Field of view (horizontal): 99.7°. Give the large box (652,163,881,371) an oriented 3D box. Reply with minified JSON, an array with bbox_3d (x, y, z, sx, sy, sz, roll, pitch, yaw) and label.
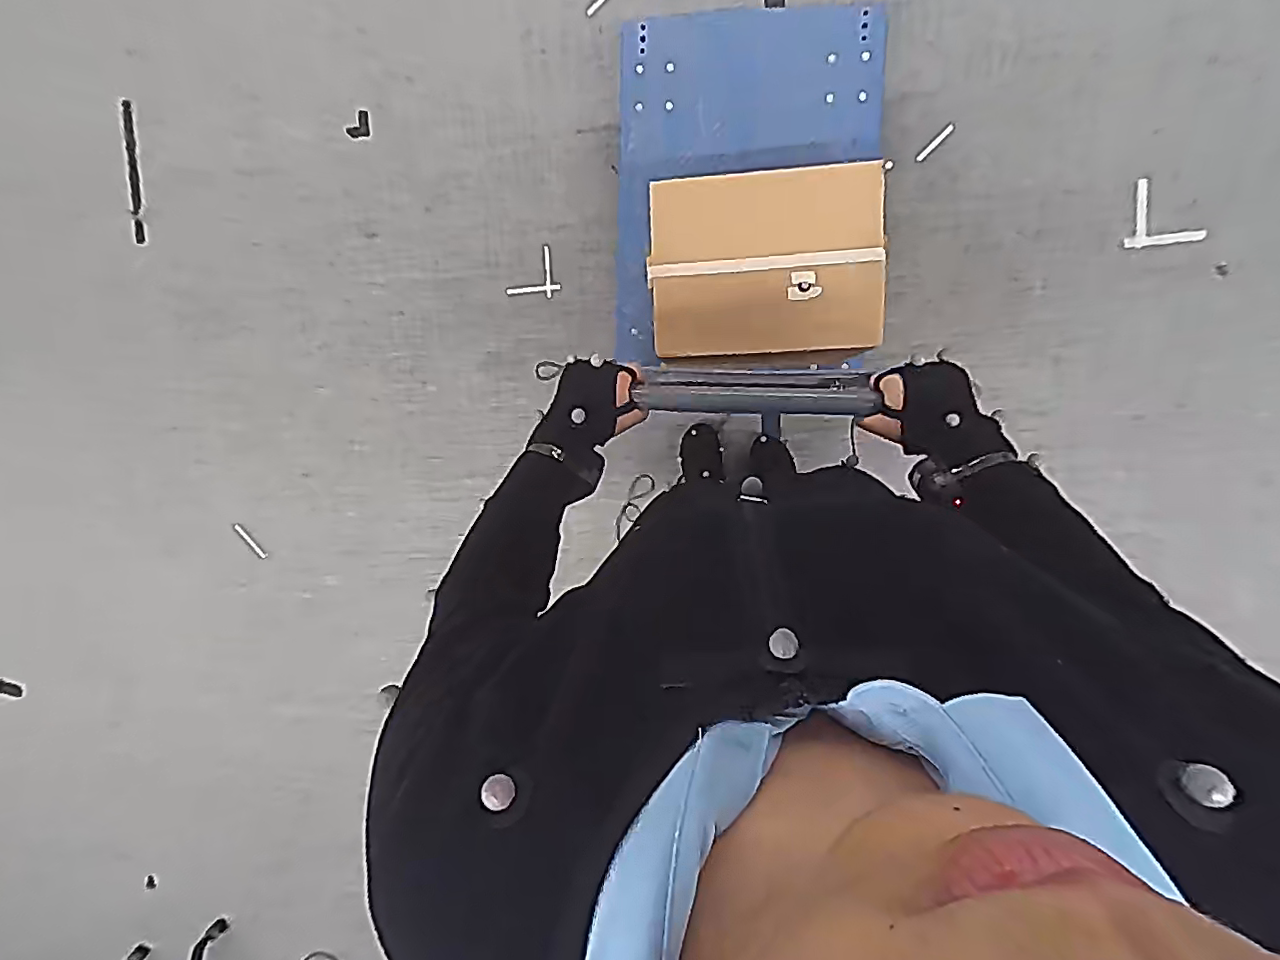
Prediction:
[{"bbox_3d":[0.241,-0.406,1.121,0.408,0.320,0.320,-2,97,6],"label":"large box"}]
